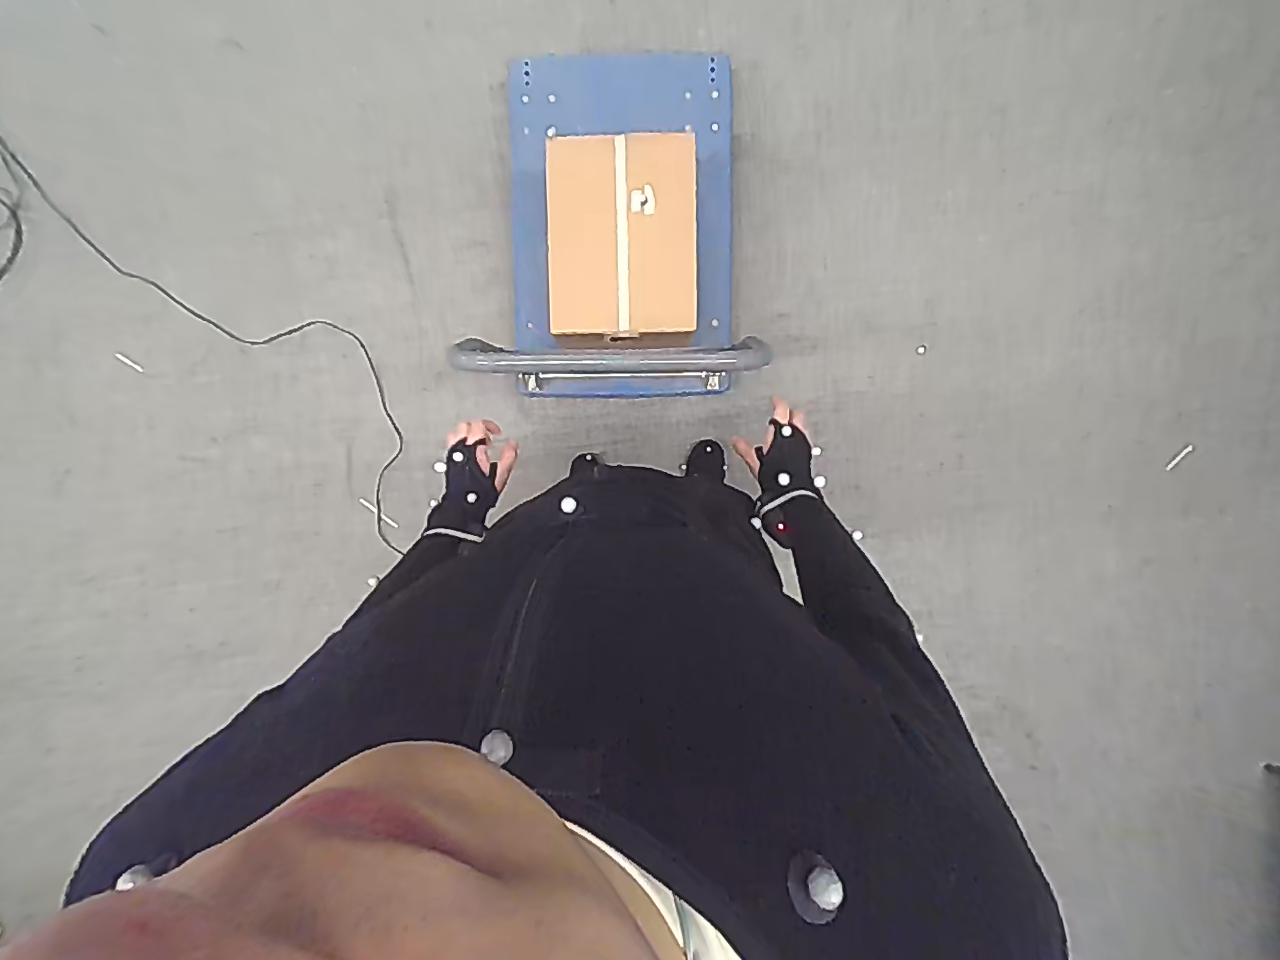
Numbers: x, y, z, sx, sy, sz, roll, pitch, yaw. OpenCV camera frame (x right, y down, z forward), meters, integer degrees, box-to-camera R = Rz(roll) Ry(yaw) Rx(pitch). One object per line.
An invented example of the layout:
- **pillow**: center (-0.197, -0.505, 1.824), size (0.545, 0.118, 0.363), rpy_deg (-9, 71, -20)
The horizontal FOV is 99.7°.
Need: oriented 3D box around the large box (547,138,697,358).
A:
- **large box**: center (-0.035, -0.521, 1.292), size (0.320, 0.320, 0.408), rpy_deg (-1, 93, 1)
